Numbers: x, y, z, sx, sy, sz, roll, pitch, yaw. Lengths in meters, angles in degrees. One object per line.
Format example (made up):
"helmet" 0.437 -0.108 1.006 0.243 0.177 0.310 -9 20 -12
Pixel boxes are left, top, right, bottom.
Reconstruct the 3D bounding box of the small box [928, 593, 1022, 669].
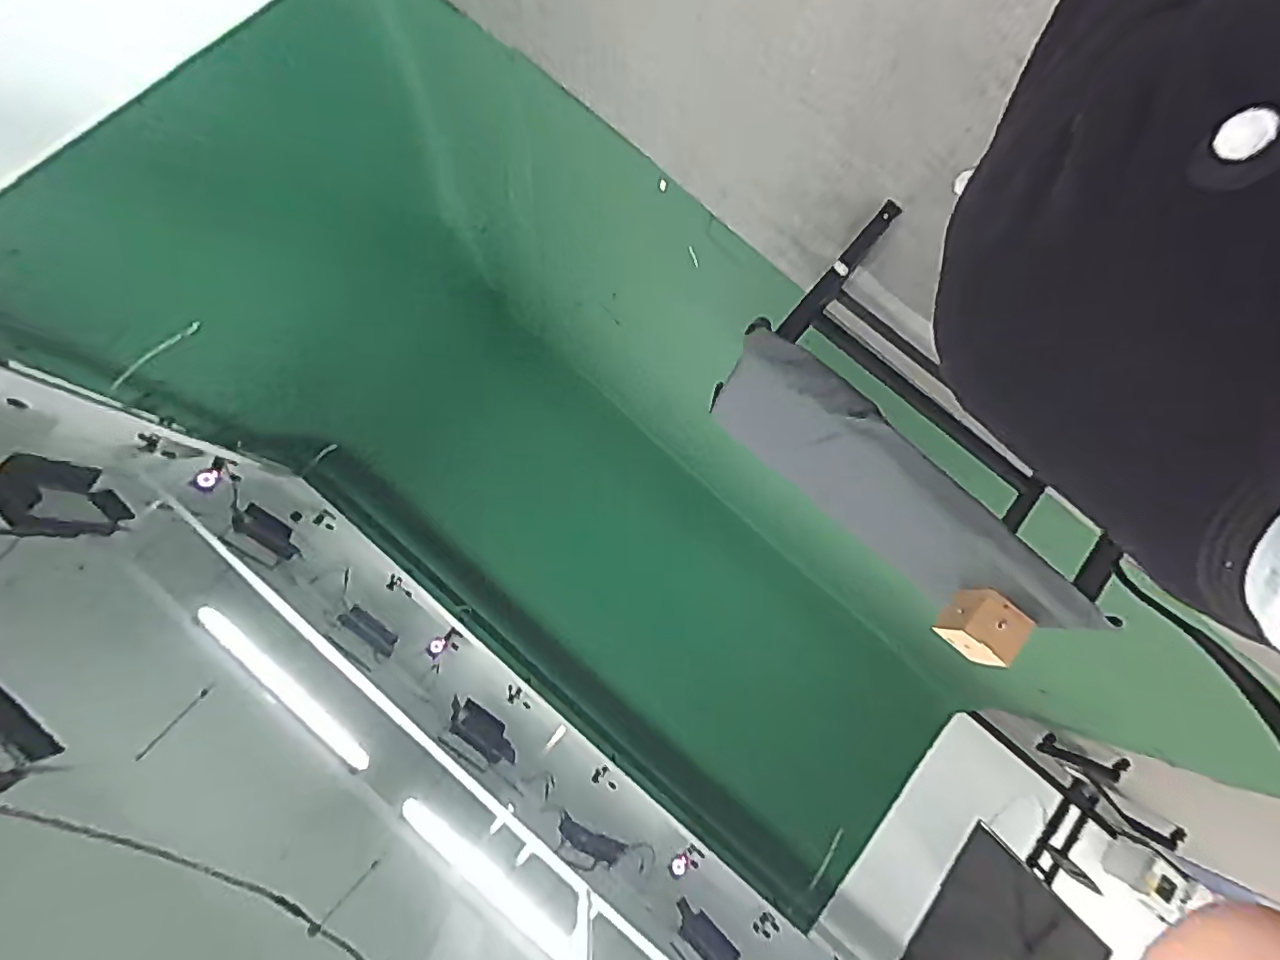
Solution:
"small box" 1.076 0.478 1.729 0.168 0.176 0.179 41 167 7
